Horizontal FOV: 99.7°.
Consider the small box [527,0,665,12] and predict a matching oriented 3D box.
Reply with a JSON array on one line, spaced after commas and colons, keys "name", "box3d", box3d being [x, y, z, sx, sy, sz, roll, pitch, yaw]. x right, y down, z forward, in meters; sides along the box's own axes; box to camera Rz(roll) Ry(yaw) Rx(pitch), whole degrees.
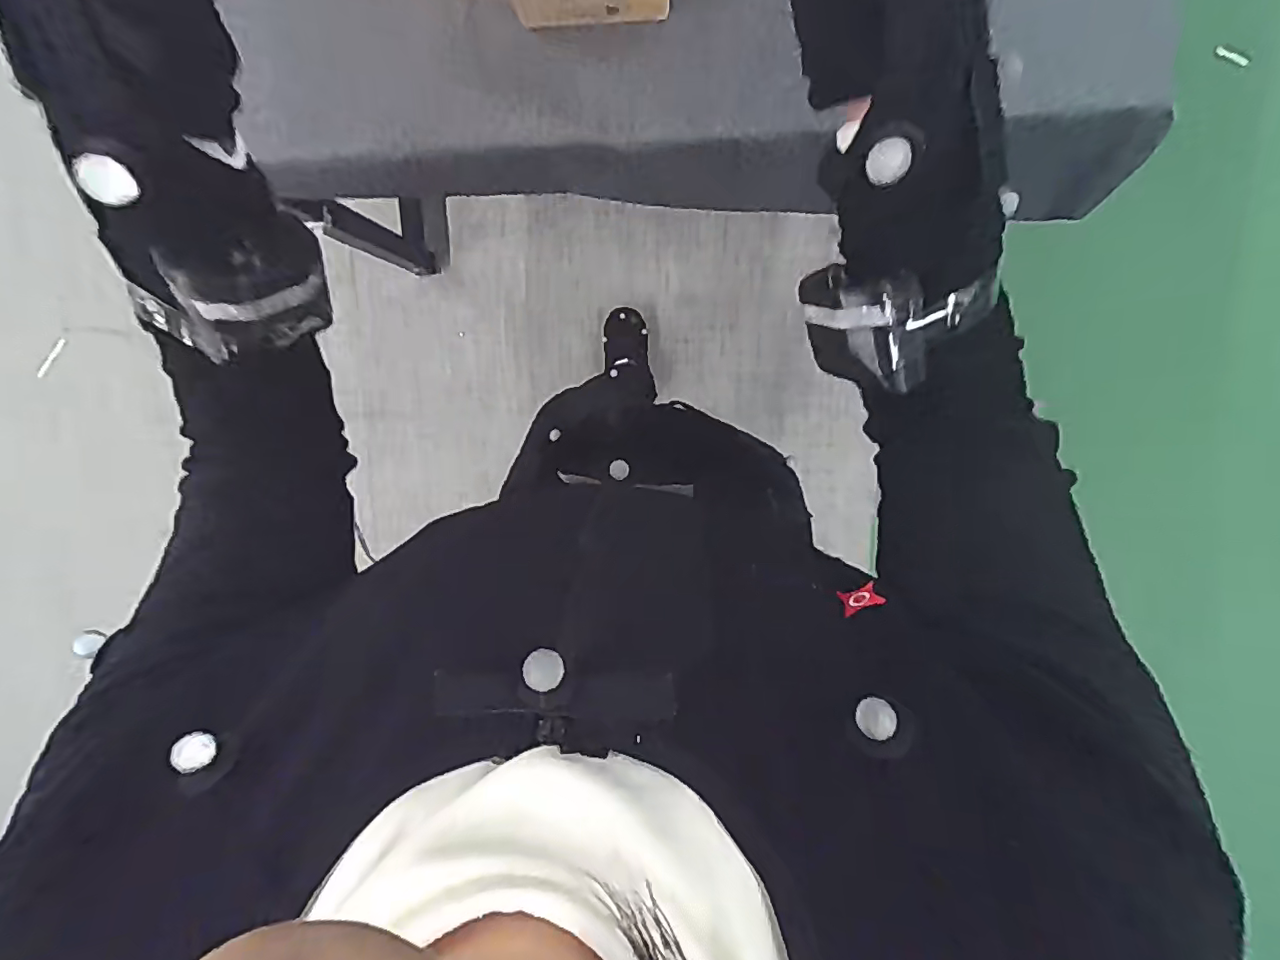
[{"name": "small box", "box3d": [-0.057, -0.584, 0.507, 0.168, 0.176, 0.179, -1, 100, 5]}]
